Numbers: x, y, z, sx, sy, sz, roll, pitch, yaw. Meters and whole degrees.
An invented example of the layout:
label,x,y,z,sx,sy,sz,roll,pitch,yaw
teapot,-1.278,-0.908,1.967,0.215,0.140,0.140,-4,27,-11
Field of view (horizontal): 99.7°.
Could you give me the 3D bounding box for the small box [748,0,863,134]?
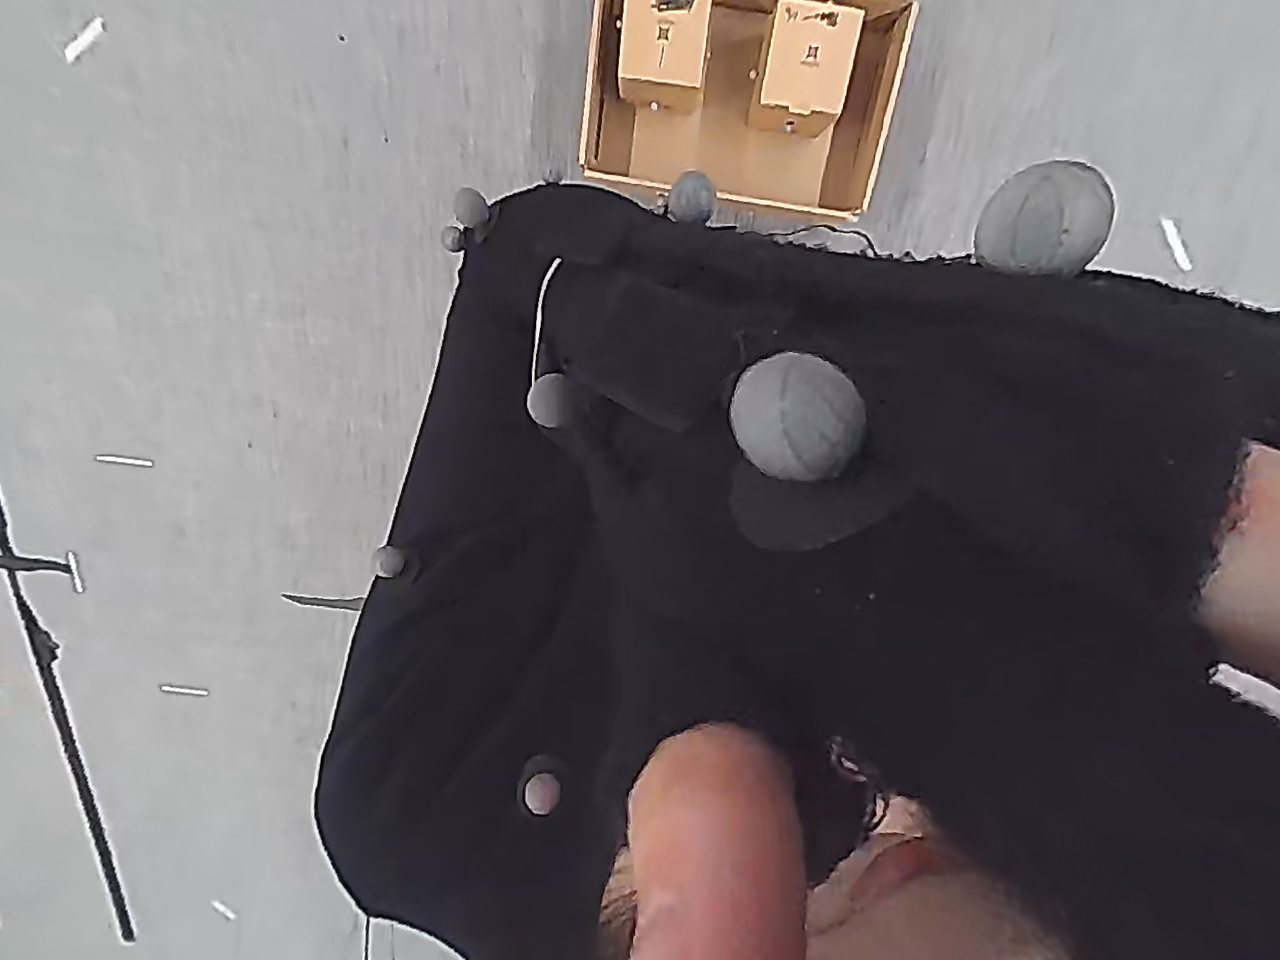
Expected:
label,x,y,z,sx,sy,sz,roll,pitch,yaw
small box,0.327,-0.837,1.111,0.168,0.176,0.179,9,110,-2
